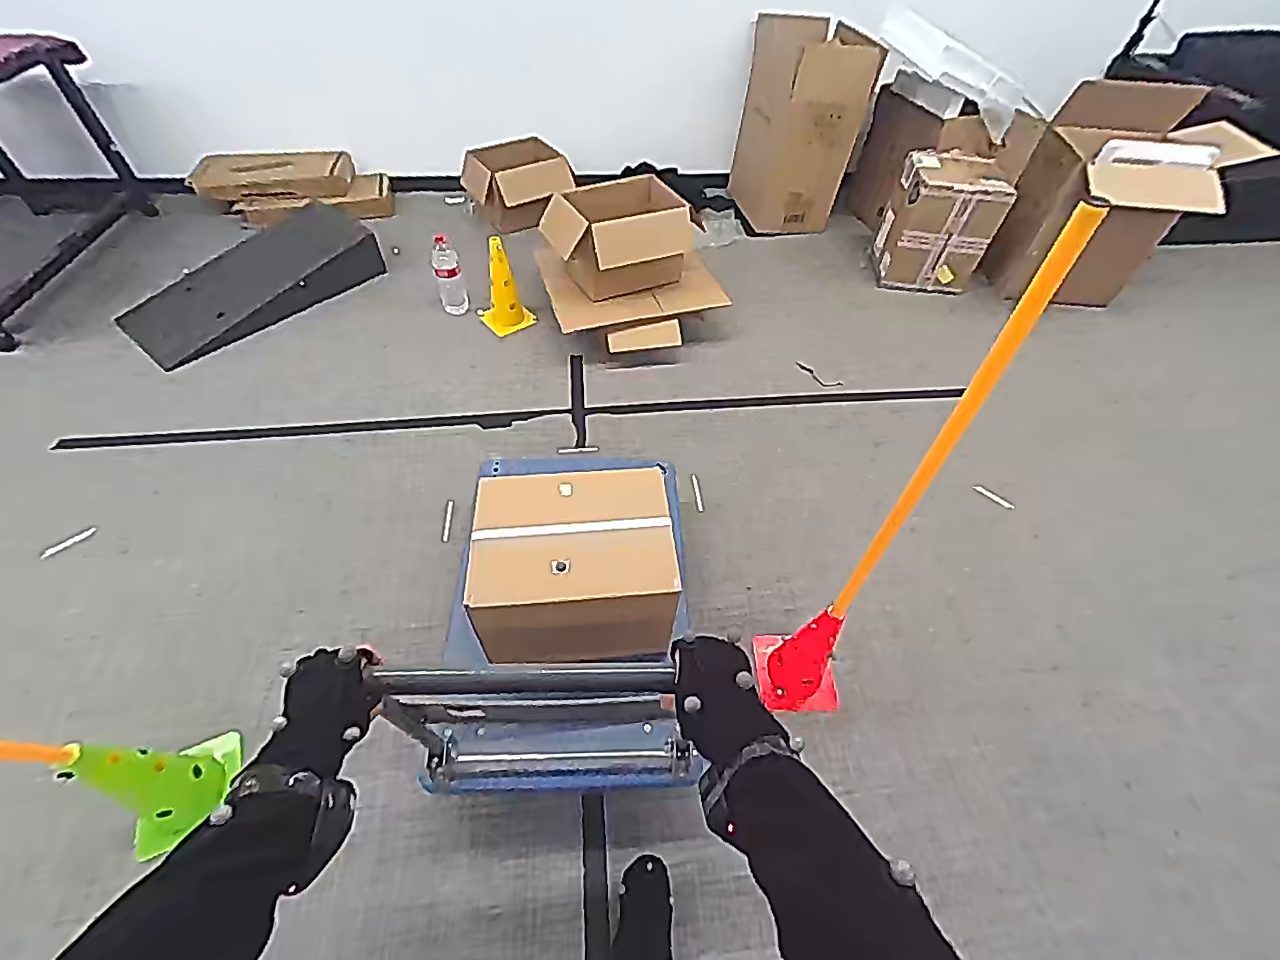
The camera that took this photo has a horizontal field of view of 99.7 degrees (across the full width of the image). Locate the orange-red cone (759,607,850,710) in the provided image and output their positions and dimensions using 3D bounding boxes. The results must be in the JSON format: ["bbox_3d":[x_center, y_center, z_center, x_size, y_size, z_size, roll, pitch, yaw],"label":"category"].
[{"bbox_3d":[0.426,0.395,1.292,0.199,0.360,0.198,2,51,-2],"label":"orange-red cone"}]
